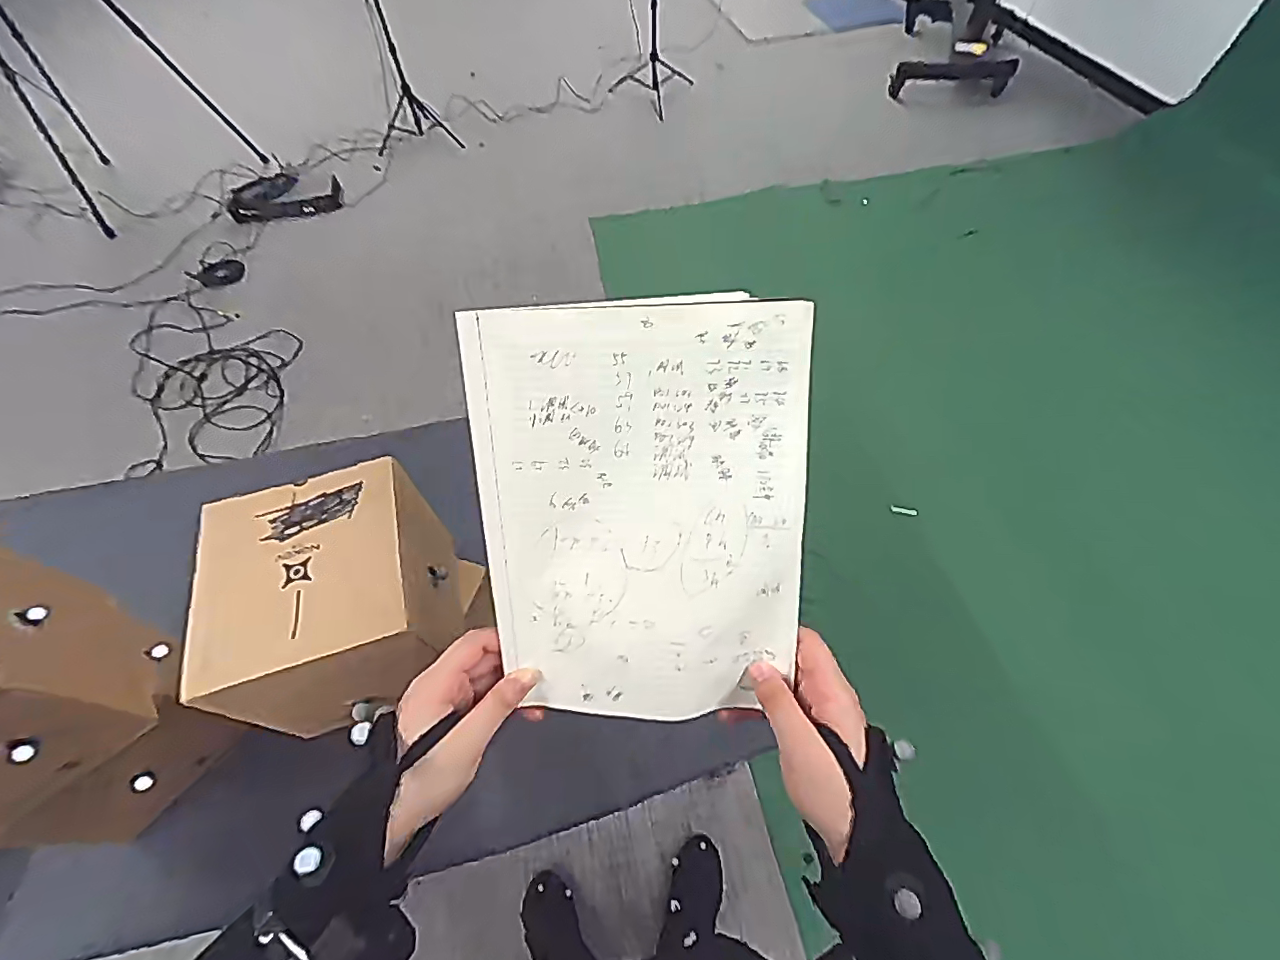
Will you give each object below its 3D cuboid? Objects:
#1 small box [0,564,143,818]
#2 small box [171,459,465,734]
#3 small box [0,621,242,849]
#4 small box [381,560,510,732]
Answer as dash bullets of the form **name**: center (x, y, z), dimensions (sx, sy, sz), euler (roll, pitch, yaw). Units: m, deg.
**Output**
- **small box**: center (-0.594, 0.188, 0.469), dimensions (0.168, 0.176, 0.179), euler (-37, 63, -21)
- **small box**: center (-0.278, 0.113, 0.506), dimensions (0.168, 0.176, 0.179), euler (-17, 58, -8)
- **small box**: center (-0.608, 0.273, 0.608), dimensions (0.179, 0.176, 0.168), euler (31, 62, 20)
- **small box**: center (-0.278, 0.190, 0.652), dimensions (0.179, 0.176, 0.168), euler (12, 58, 11)
